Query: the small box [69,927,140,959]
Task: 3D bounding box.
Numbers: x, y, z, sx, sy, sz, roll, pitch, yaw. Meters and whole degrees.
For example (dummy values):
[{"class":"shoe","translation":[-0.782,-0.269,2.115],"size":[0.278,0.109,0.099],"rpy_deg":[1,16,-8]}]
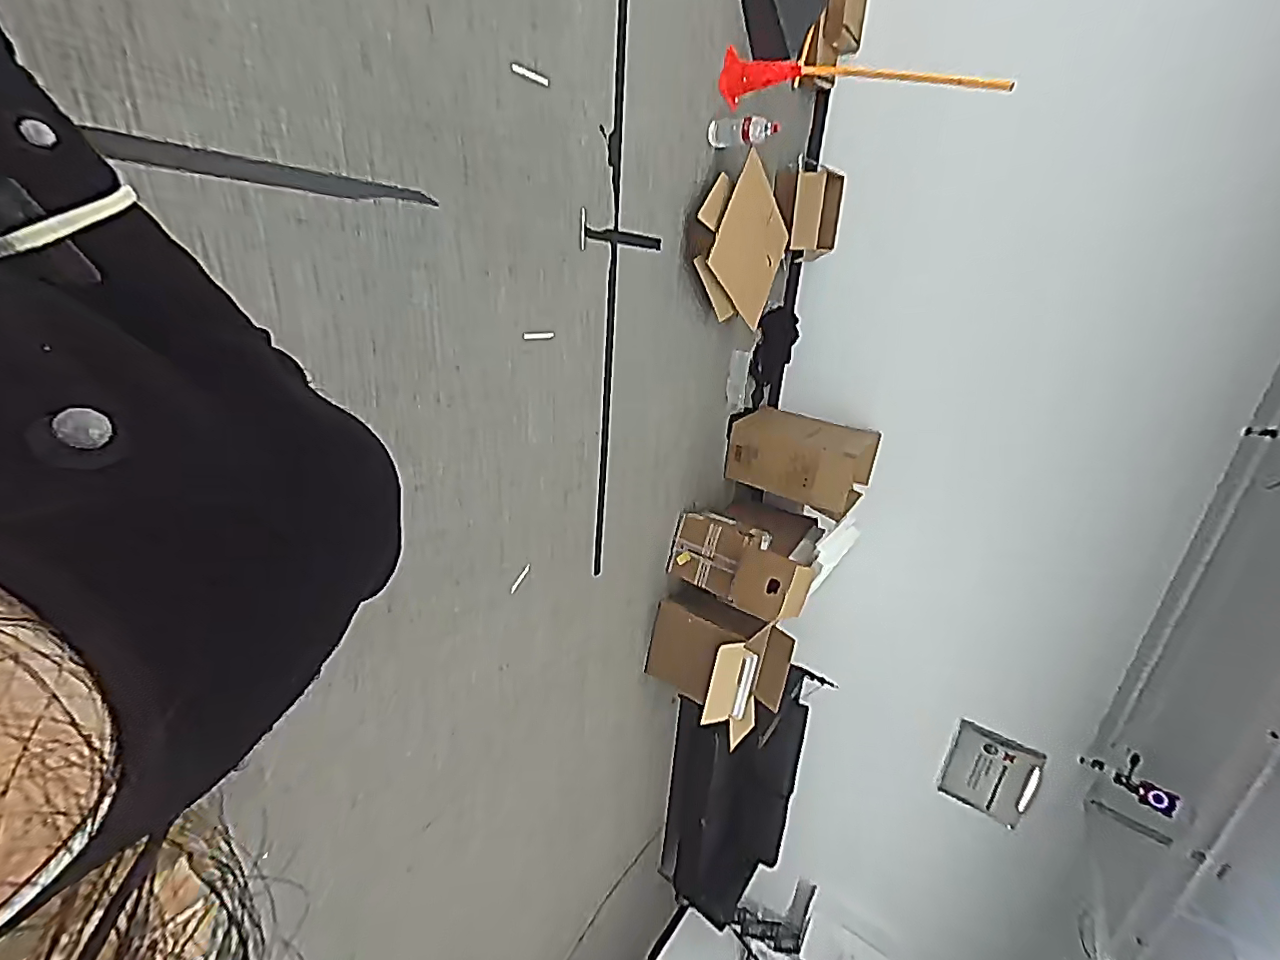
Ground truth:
[{"class":"small box","translation":[-1.063,1.031,1.039],"size":[0.179,0.176,0.168],"rpy_deg":[-24,123,-49]}]
